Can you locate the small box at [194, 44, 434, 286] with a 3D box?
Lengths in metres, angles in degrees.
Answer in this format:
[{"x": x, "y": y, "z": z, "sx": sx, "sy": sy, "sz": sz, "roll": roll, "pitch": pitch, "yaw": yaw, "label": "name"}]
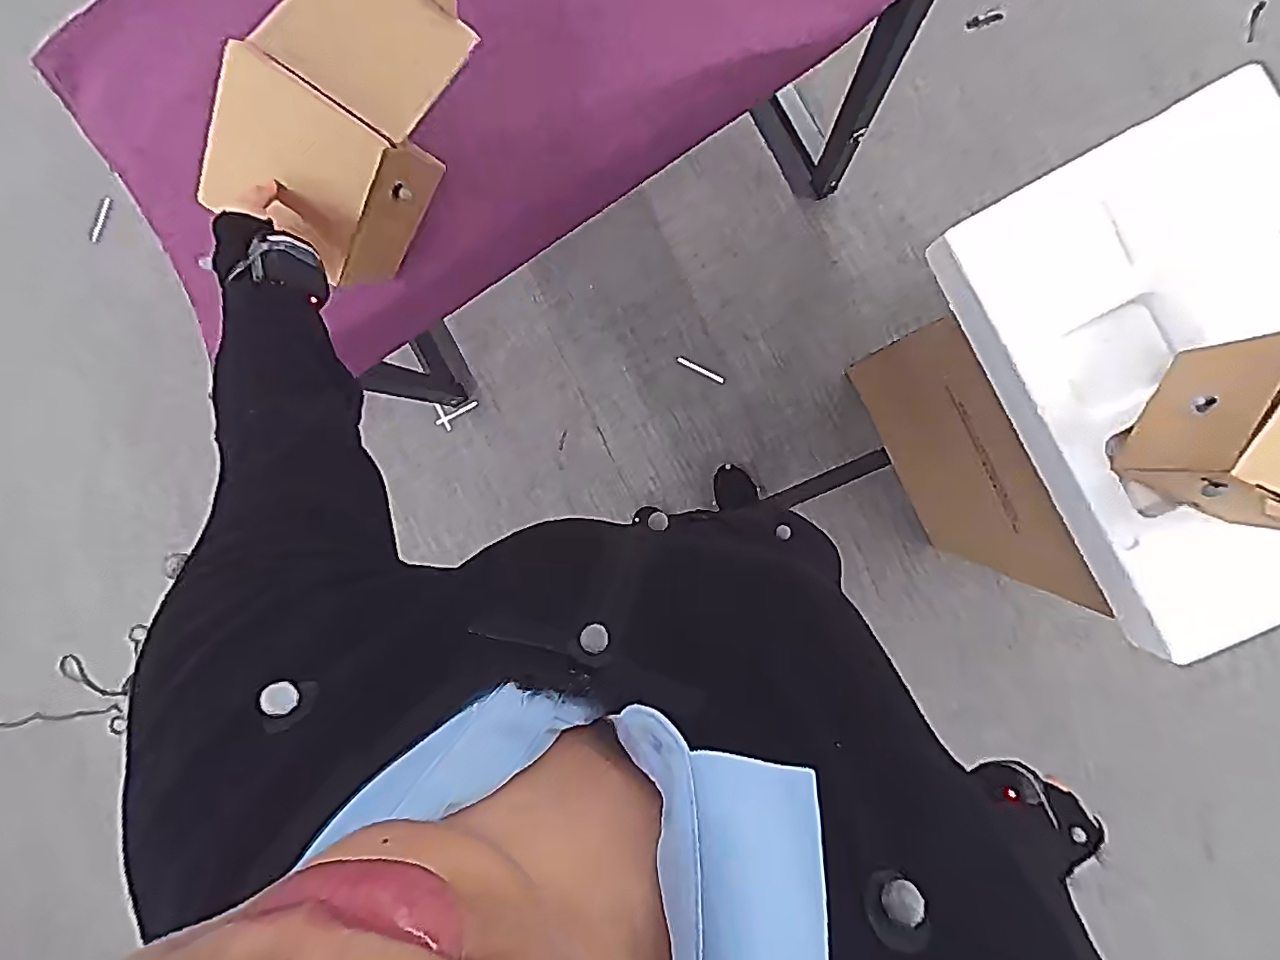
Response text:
[{"x": -0.378, "y": -0.365, "z": 0.664, "sx": 0.168, "sy": 0.176, "sz": 0.179, "roll": 34, "pitch": 107, "yaw": -15, "label": "small box"}]
